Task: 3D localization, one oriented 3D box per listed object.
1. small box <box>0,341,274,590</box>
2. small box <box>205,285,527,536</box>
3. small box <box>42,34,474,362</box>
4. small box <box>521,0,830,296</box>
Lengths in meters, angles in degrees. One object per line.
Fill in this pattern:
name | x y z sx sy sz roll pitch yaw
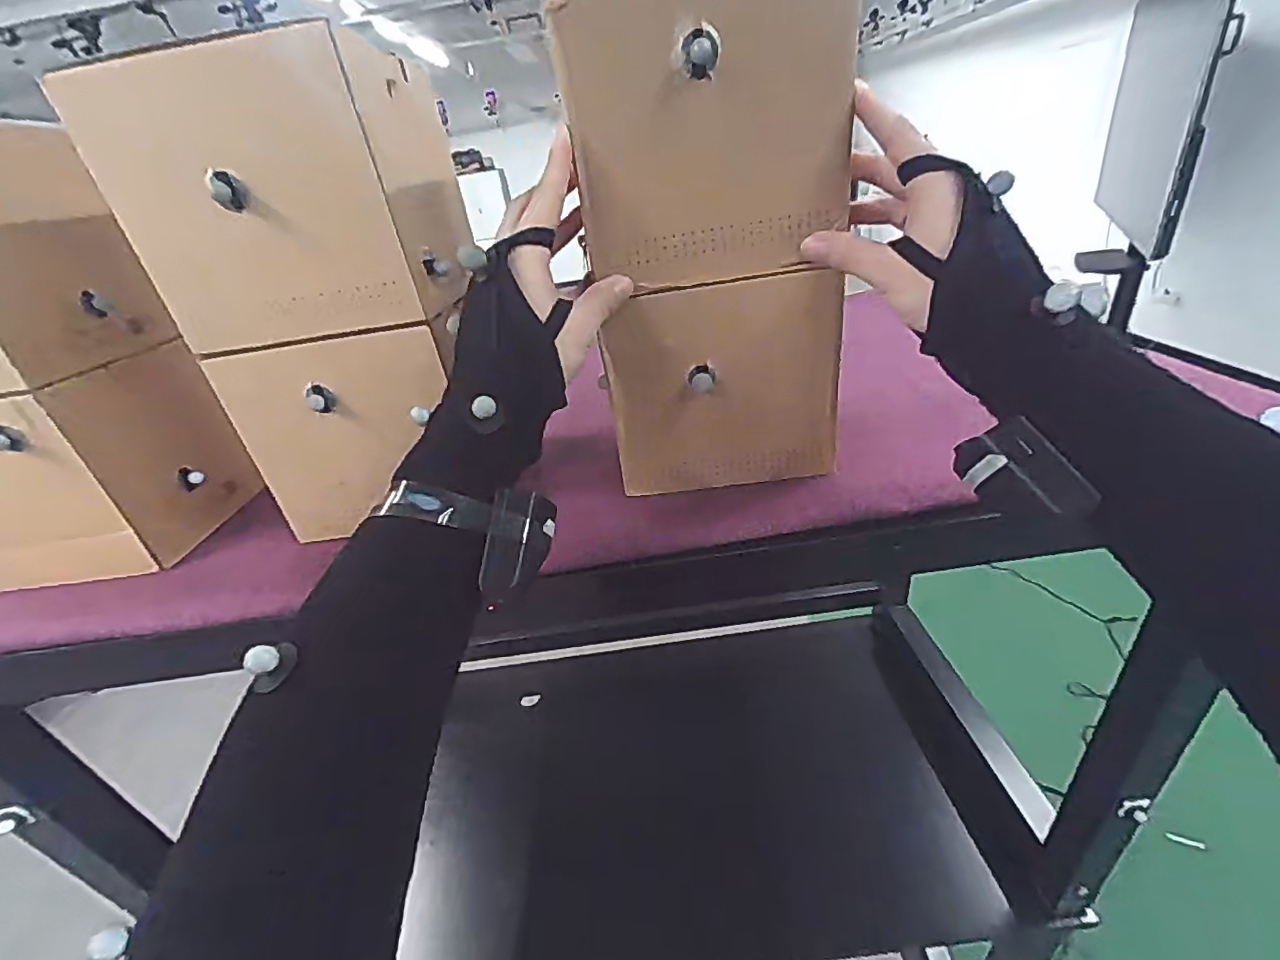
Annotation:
small box | -0.500 -0.015 0.504 0.179 0.176 0.168 -7 30 3
small box | -0.222 -0.064 0.495 0.179 0.176 0.168 -8 31 5
small box | -0.248 -0.204 0.412 0.179 0.176 0.168 -9 30 5
small box | 0.031 -0.245 0.395 0.179 0.176 0.168 -9 33 3
